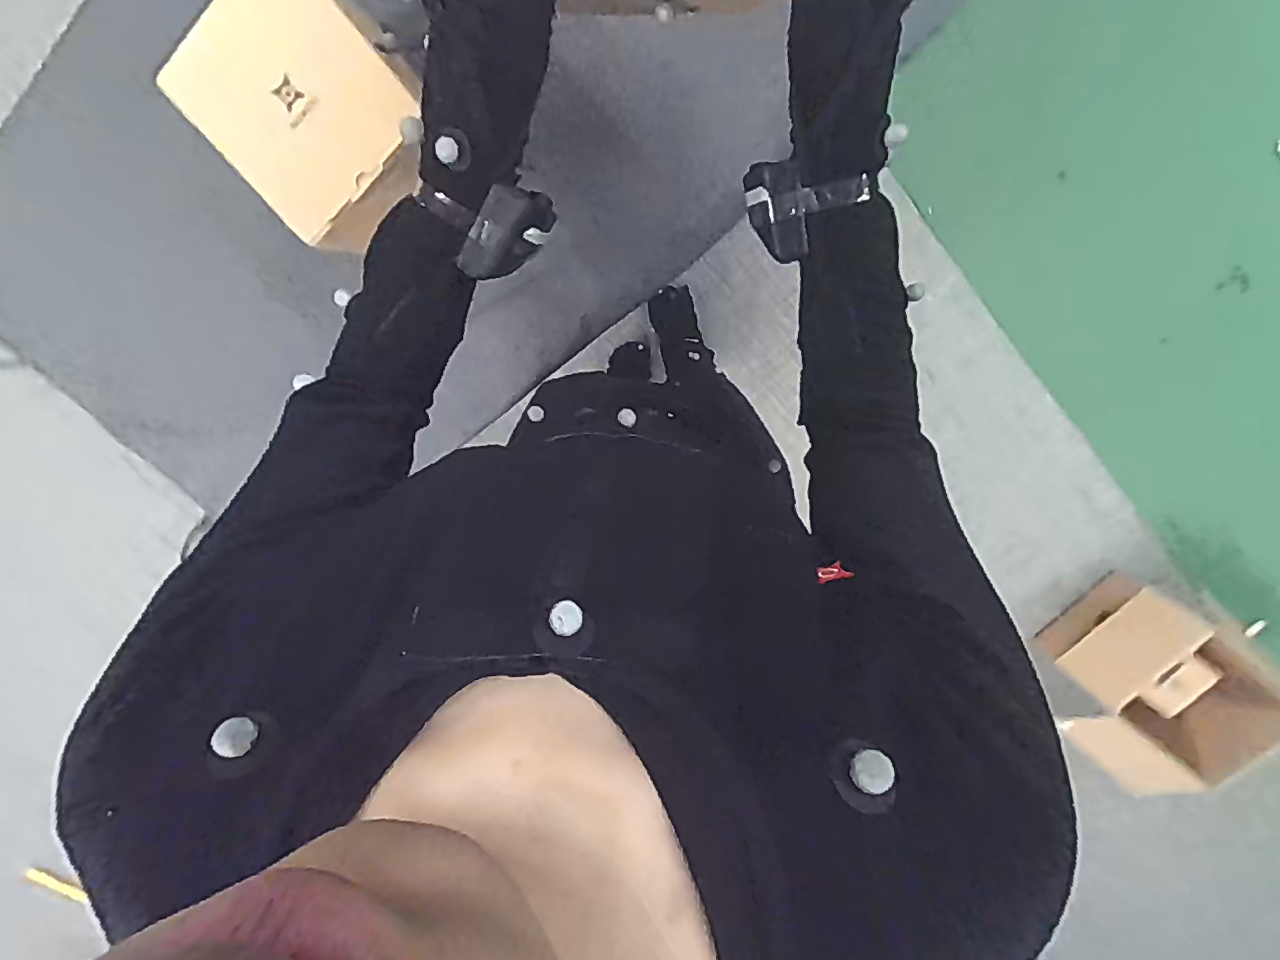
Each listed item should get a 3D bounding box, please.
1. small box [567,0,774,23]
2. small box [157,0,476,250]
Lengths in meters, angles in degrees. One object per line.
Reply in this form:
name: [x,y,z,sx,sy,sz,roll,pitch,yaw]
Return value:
small box: [0.022,-0.401,0.312,0.168,0.176,0.179,0,119,-3]
small box: [-0.301,-0.358,0.546,0.168,0.176,0.179,-38,104,13]
